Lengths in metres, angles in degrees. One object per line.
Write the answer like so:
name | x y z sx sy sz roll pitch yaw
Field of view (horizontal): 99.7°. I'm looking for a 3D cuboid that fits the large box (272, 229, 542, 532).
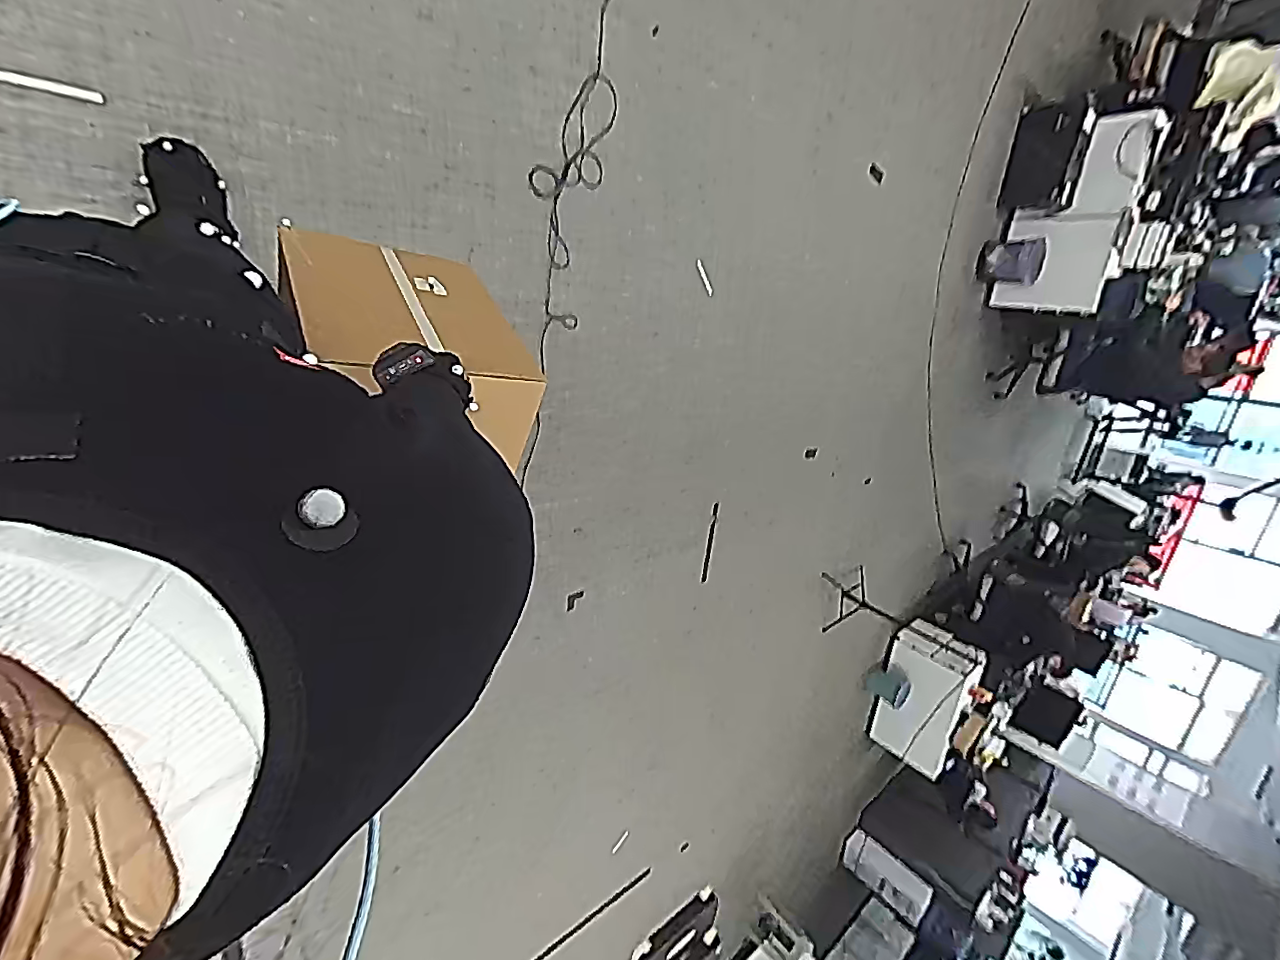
large box | -0.422 -0.168 0.927 0.320 0.408 0.320 -2 132 -40
